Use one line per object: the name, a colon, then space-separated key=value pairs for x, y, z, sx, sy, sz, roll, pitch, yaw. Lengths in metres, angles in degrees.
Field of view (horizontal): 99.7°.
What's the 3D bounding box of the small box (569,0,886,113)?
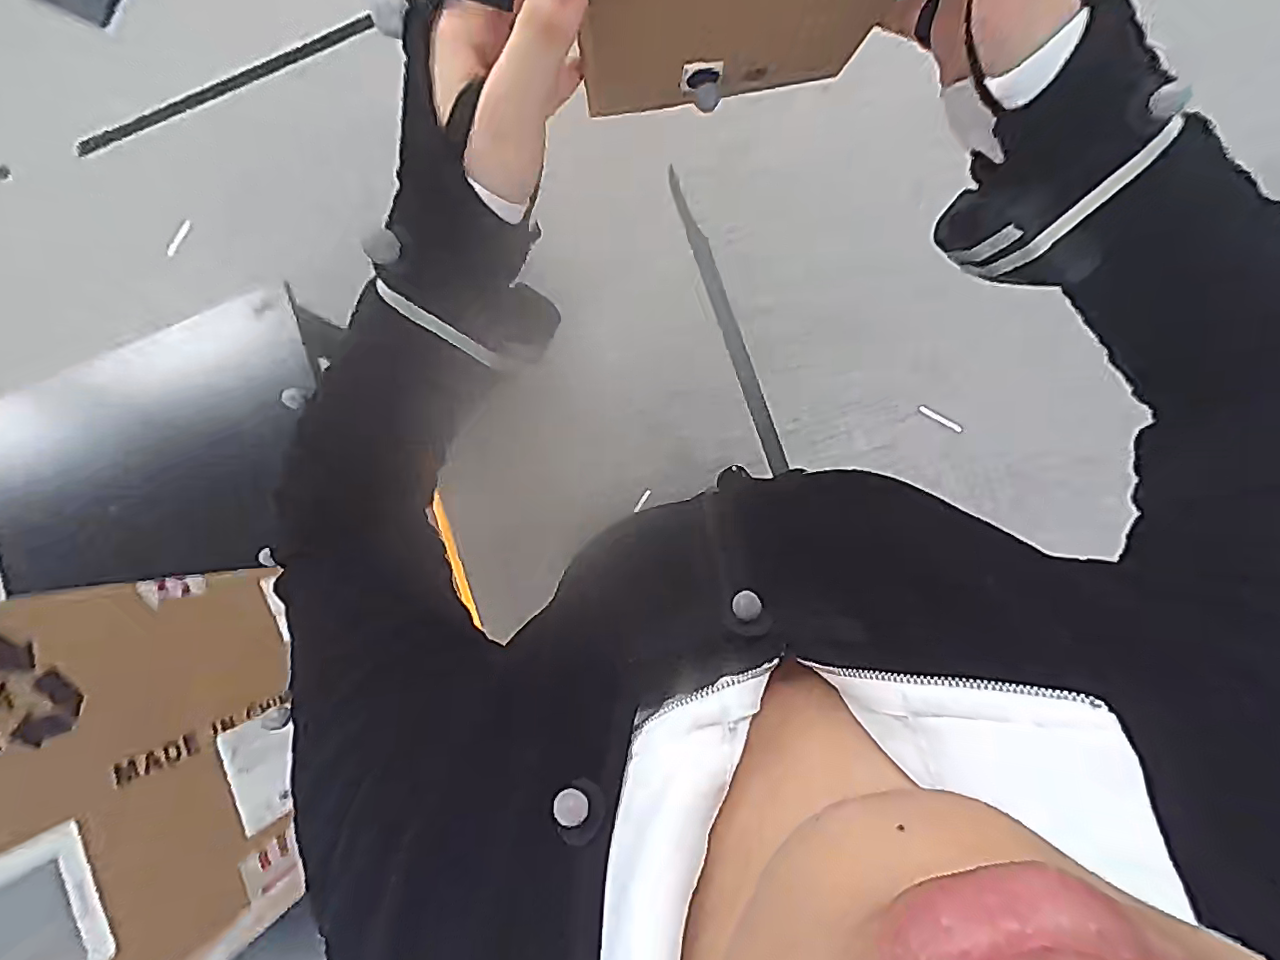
small box: x=0.037 y=-0.317 z=0.258 sx=0.168 sy=0.176 sz=0.179 roll=-9 pitch=104 yaw=1
